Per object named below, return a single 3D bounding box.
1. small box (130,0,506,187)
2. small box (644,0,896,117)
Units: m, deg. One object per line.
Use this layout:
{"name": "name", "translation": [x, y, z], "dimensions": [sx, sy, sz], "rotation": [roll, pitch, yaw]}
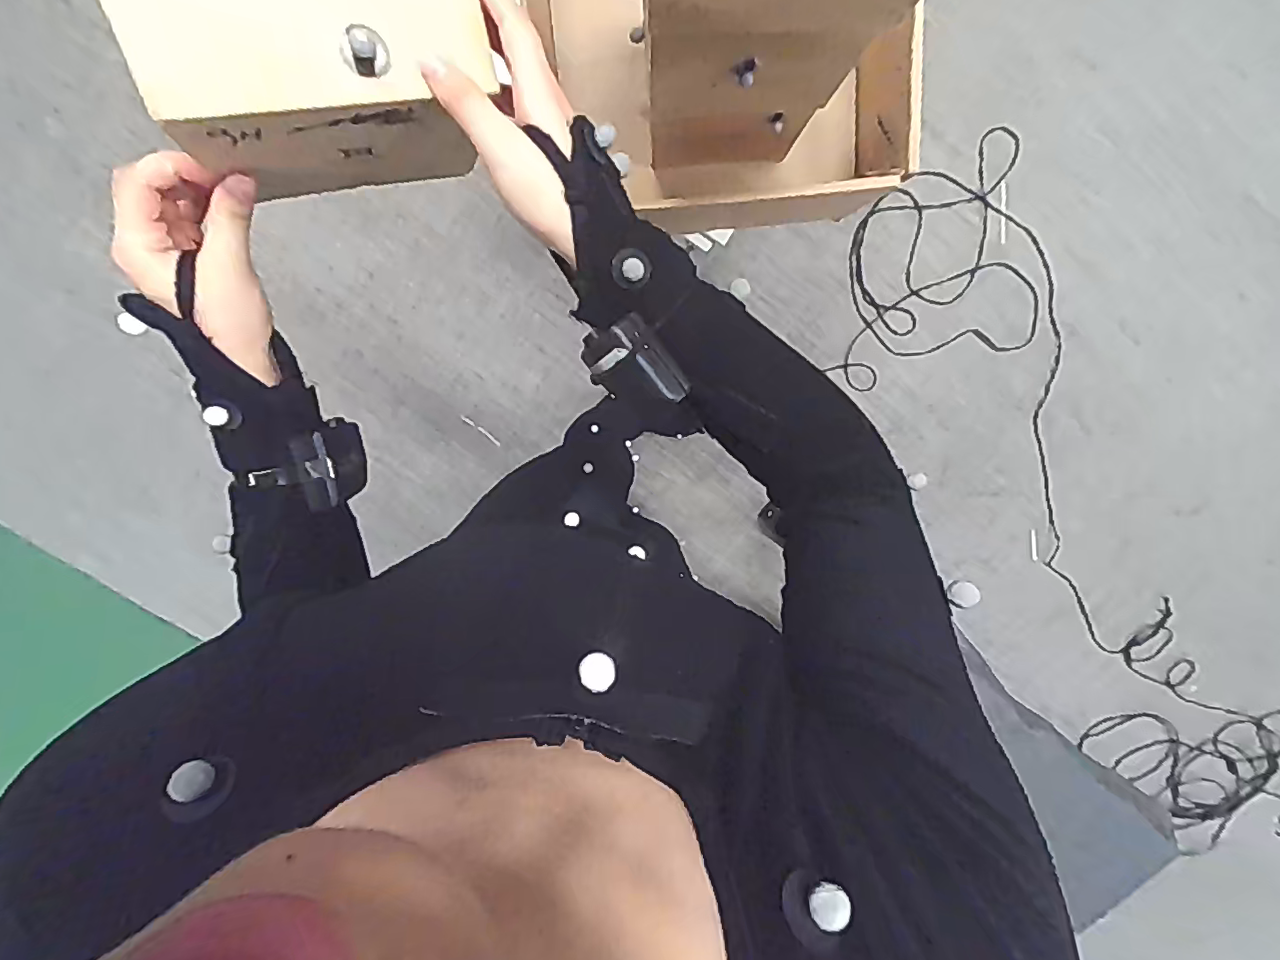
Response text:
{"name": "small box", "translation": [-0.196, -0.297, 0.328], "dimensions": [0.168, 0.179, 0.176], "rotation": [-18, 111, -18]}
{"name": "small box", "translation": [0.092, -0.427, 0.443], "dimensions": [0.179, 0.176, 0.168], "rotation": [-3, 102, 2]}
